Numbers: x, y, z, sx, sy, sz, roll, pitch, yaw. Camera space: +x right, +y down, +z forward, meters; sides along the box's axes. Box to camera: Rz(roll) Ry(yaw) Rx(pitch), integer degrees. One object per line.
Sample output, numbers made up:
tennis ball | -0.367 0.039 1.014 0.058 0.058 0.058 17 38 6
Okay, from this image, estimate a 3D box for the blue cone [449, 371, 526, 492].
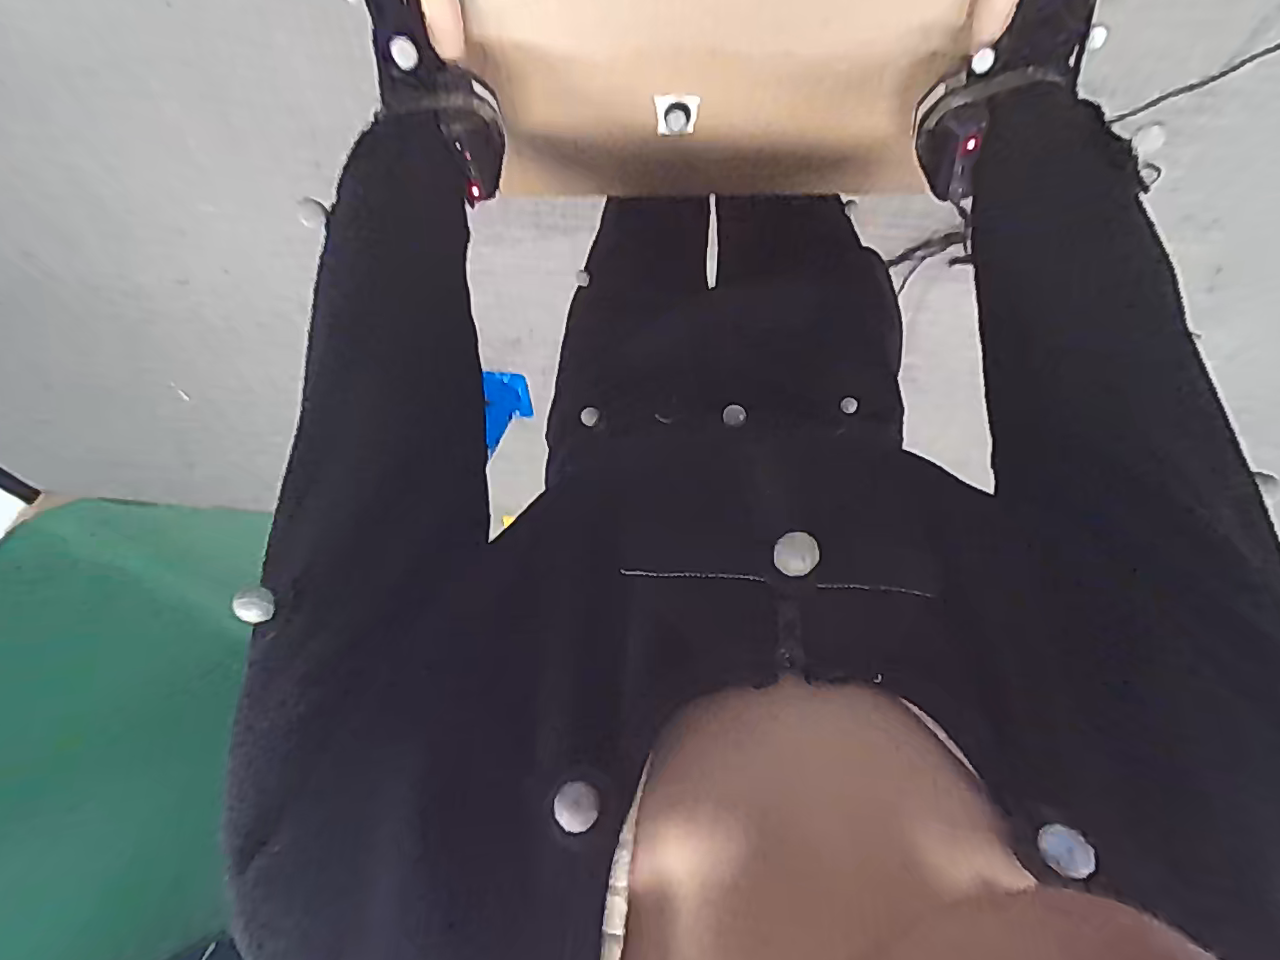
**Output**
blue cone | -0.476 -0.129 1.591 0.192 0.380 0.193 7 146 2
